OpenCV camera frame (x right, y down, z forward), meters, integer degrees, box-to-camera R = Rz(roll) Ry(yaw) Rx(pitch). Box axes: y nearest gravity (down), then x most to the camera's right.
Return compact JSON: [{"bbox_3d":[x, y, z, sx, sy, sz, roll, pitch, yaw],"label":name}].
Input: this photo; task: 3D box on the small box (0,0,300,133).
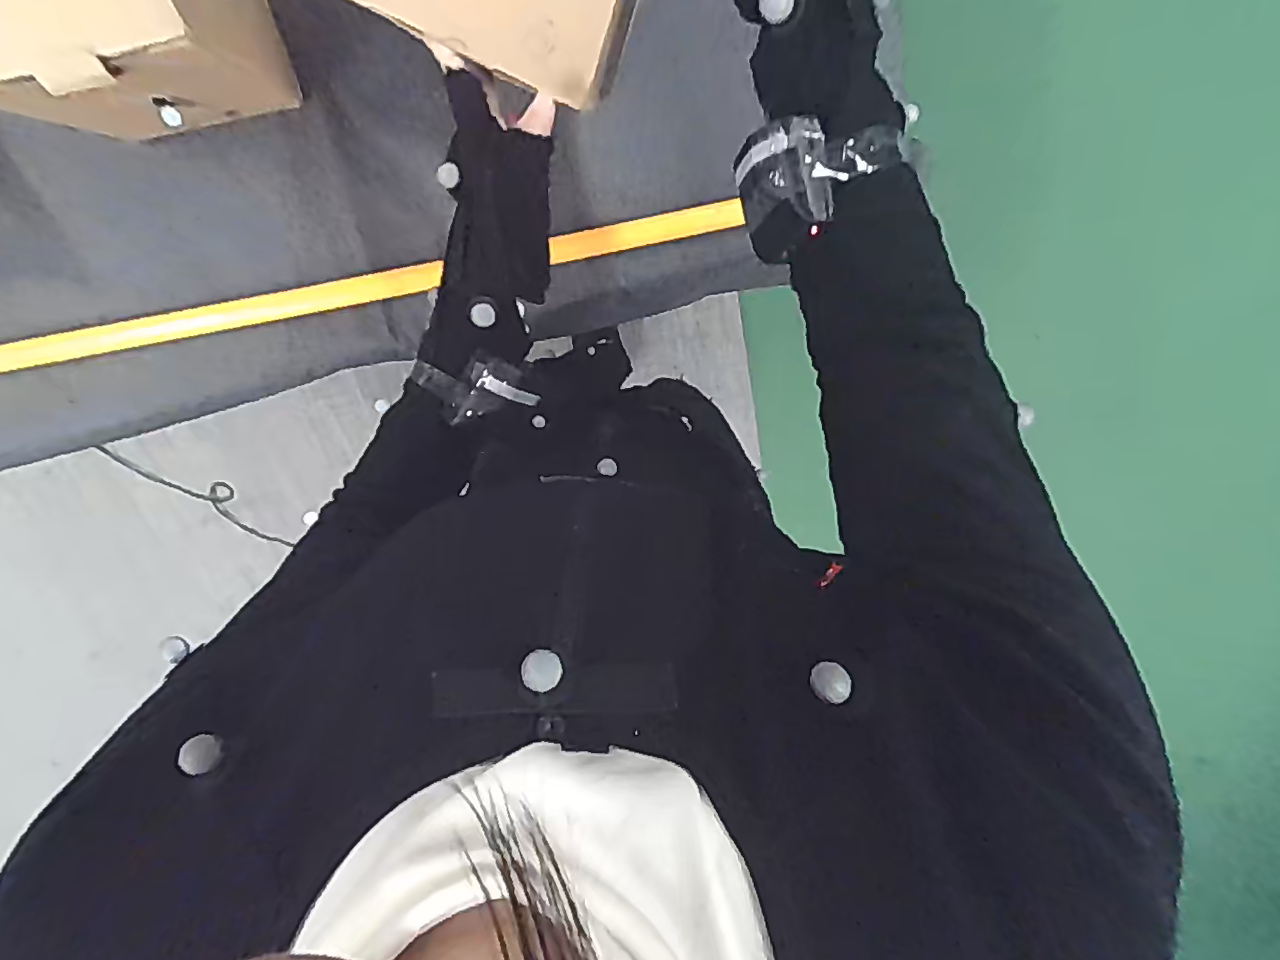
[{"bbox_3d":[-0.399,-0.378,0.398,0.168,0.176,0.179,-14,113,2],"label":"small box"}]
